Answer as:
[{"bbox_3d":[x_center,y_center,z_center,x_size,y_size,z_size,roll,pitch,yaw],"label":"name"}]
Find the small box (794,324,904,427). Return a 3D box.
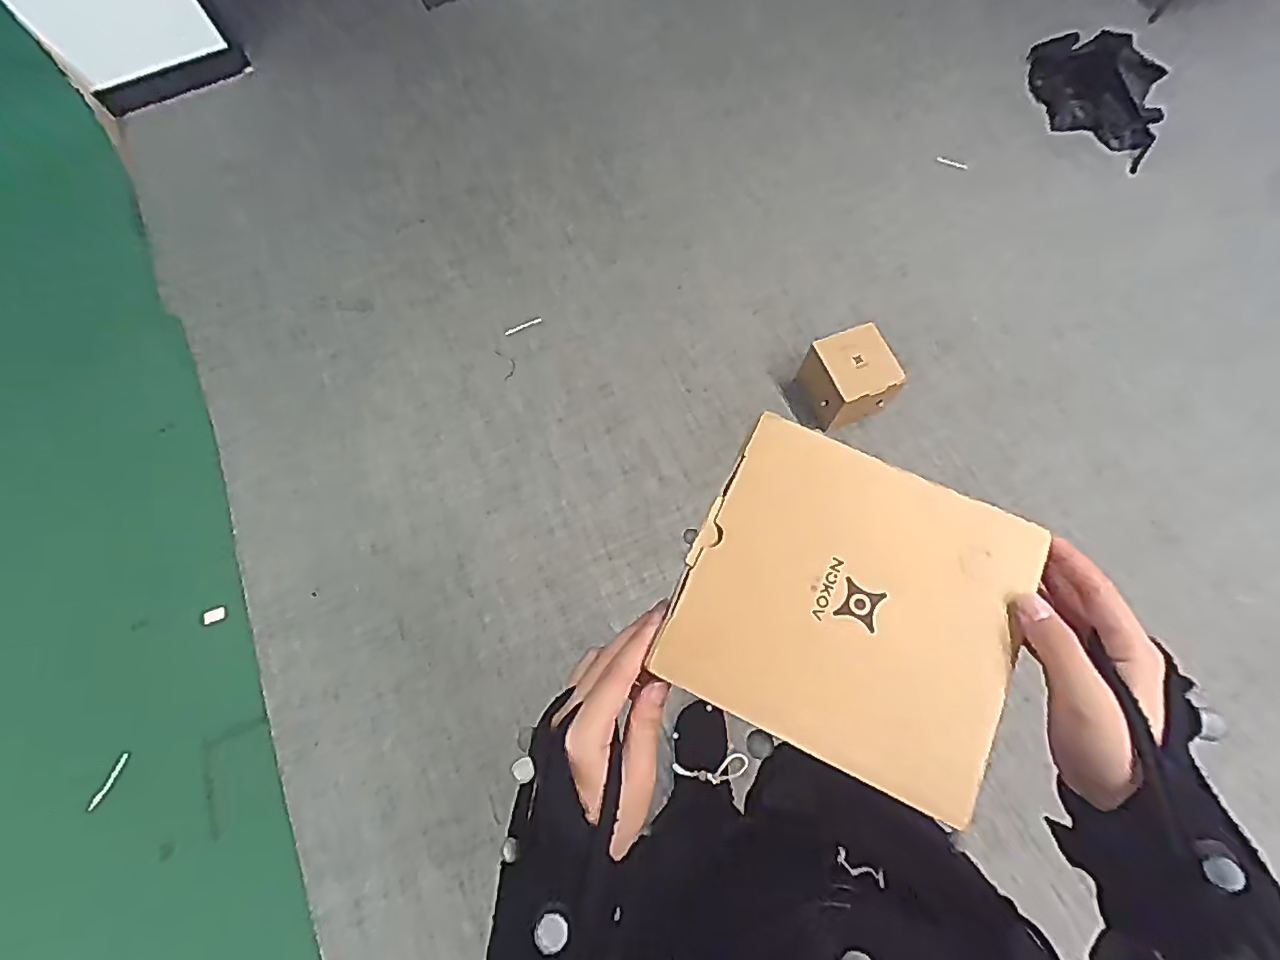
[{"bbox_3d":[0.510,-0.250,1.346,0.168,0.176,0.179,-20,70,-7],"label":"small box"}]
